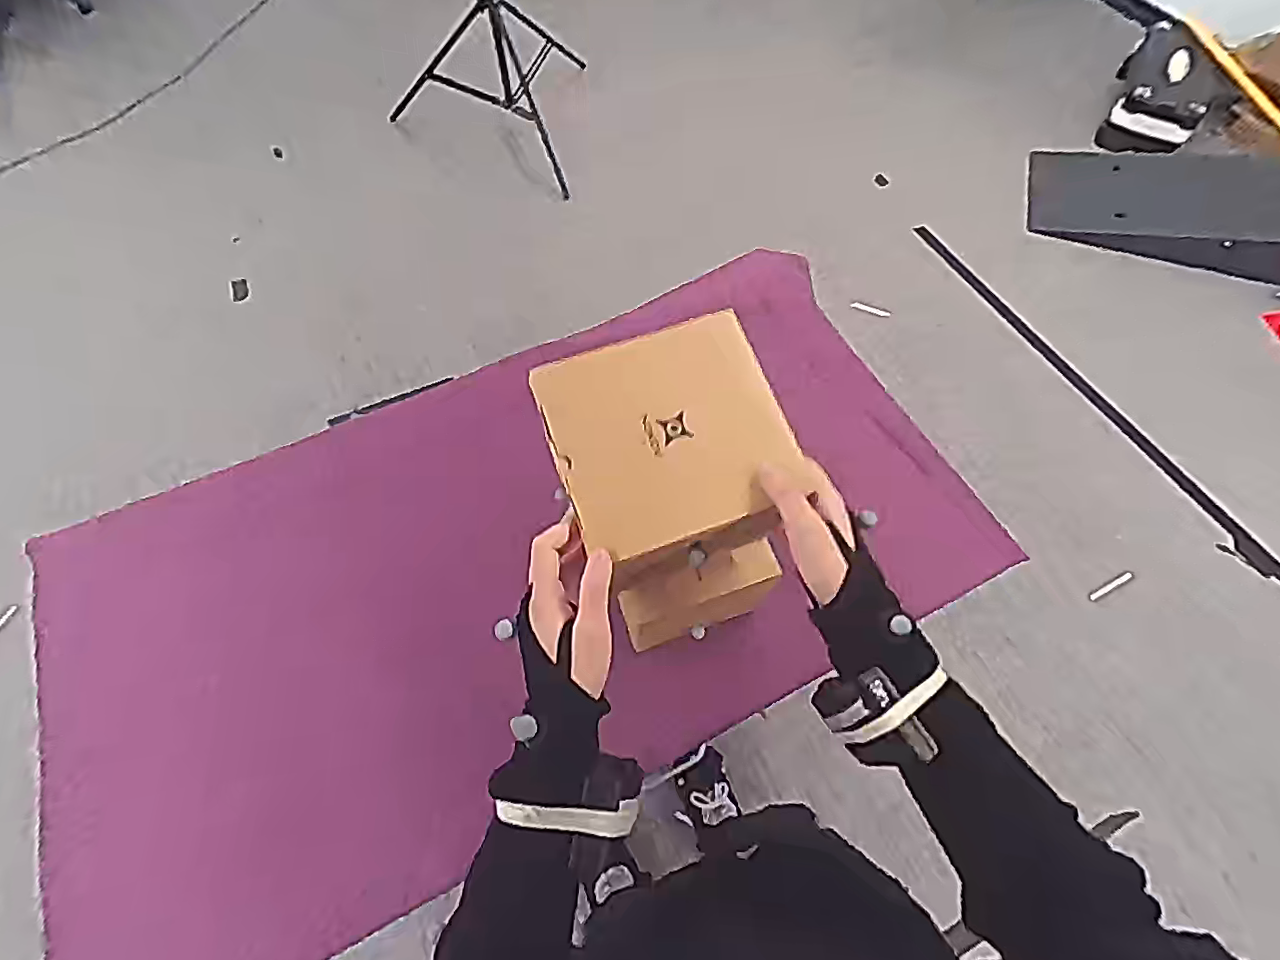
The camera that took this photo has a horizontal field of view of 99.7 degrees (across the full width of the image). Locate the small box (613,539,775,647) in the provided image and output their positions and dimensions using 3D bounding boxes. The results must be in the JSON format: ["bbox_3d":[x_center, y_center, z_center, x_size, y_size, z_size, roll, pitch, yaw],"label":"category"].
[{"bbox_3d":[0.039,0.086,0.663,0.168,0.176,0.179,-17,66,-8],"label":"small box"}]

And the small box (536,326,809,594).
[{"bbox_3d":[0.021,-0.007,0.495,0.179,0.176,0.168,-18,72,-6],"label":"small box"}]
